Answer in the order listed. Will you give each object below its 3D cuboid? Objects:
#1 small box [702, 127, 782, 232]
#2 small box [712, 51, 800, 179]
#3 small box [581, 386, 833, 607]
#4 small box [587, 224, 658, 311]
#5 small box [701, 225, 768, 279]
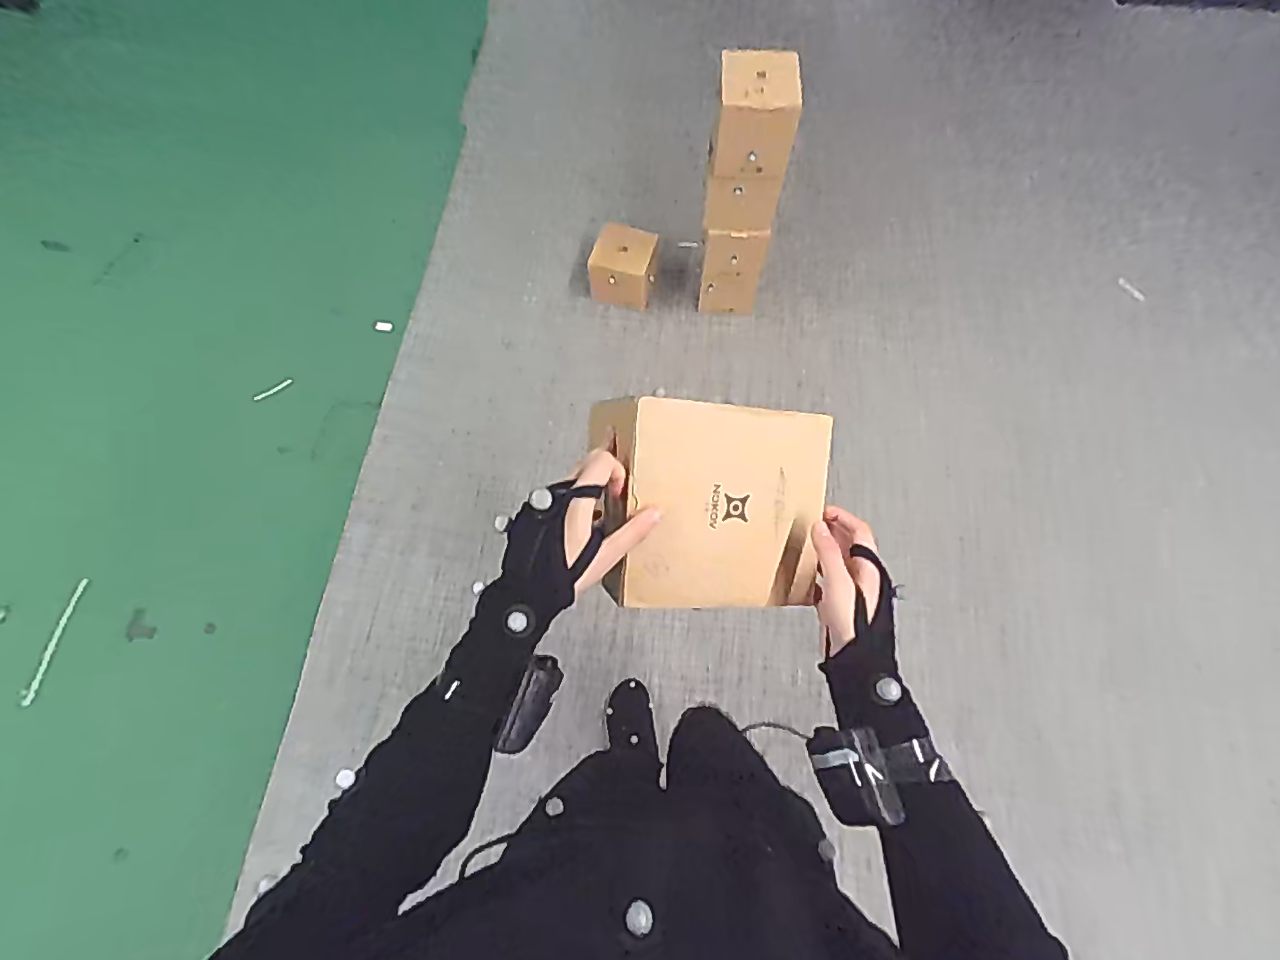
[{"bbox_3d":[0.251,-0.752,1.361,0.179,0.176,0.168,4,69,2],"label":"small box"},{"bbox_3d":[0.251,-0.810,1.207,0.168,0.176,0.179,3,69,2],"label":"small box"},{"bbox_3d":[0.047,0.011,0.507,0.179,0.176,0.168,5,95,-17],"label":"small box"},{"bbox_3d":[-0.049,-0.654,1.680,0.179,0.176,0.168,16,71,8],"label":"small box"},{"bbox_3d":[0.261,-0.688,1.513,0.168,0.176,0.179,3,70,2],"label":"small box"}]
